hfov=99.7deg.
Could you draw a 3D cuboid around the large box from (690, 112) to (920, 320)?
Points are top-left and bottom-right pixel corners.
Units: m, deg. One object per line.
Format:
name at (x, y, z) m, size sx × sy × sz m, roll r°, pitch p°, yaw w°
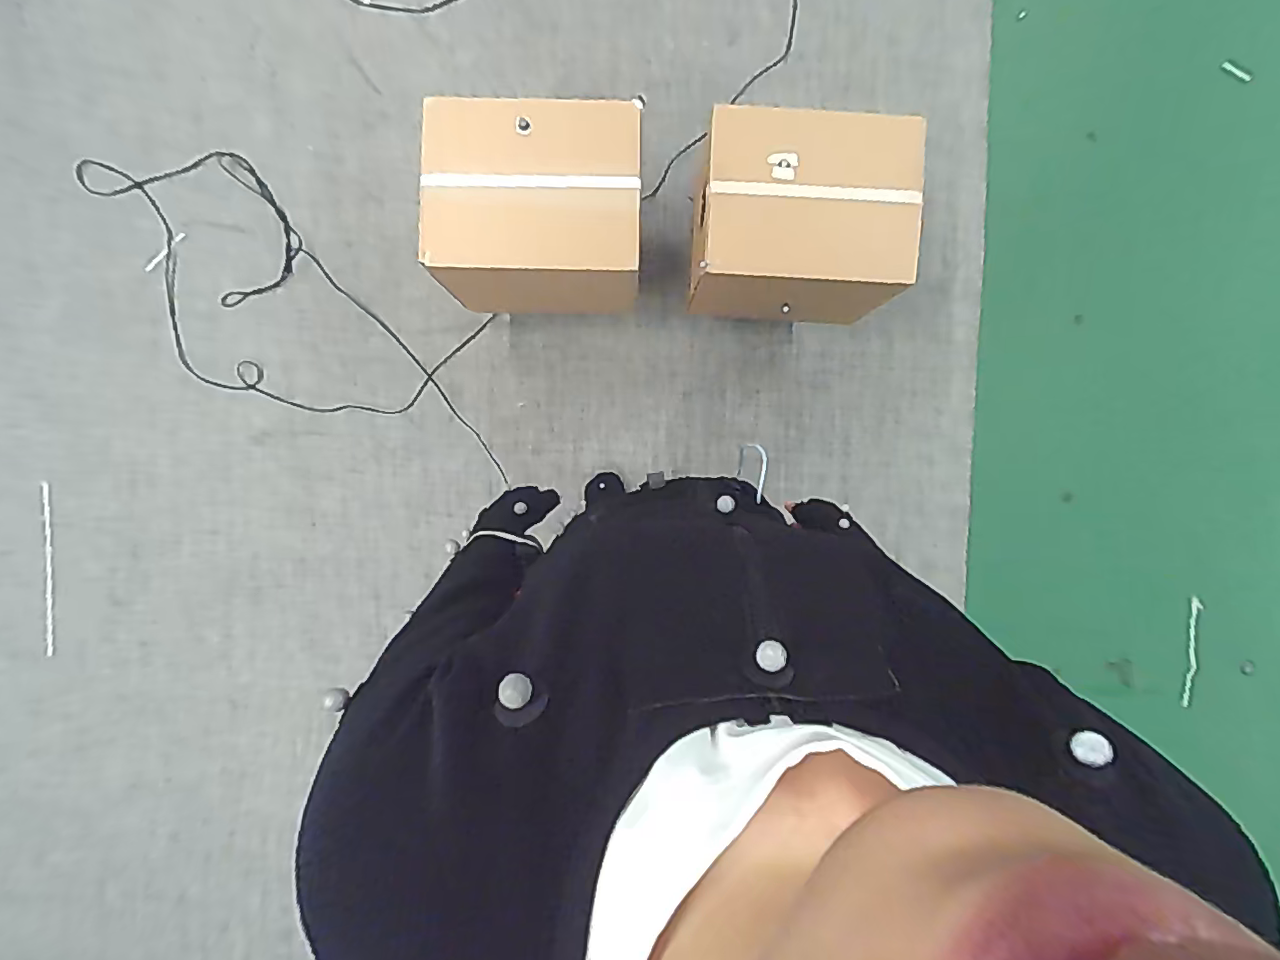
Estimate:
large box at (0.329, -0.543, 1.176) m, size 0.408 × 0.320 × 0.320 m, roll 3°, pitch 91°, yaw -1°
